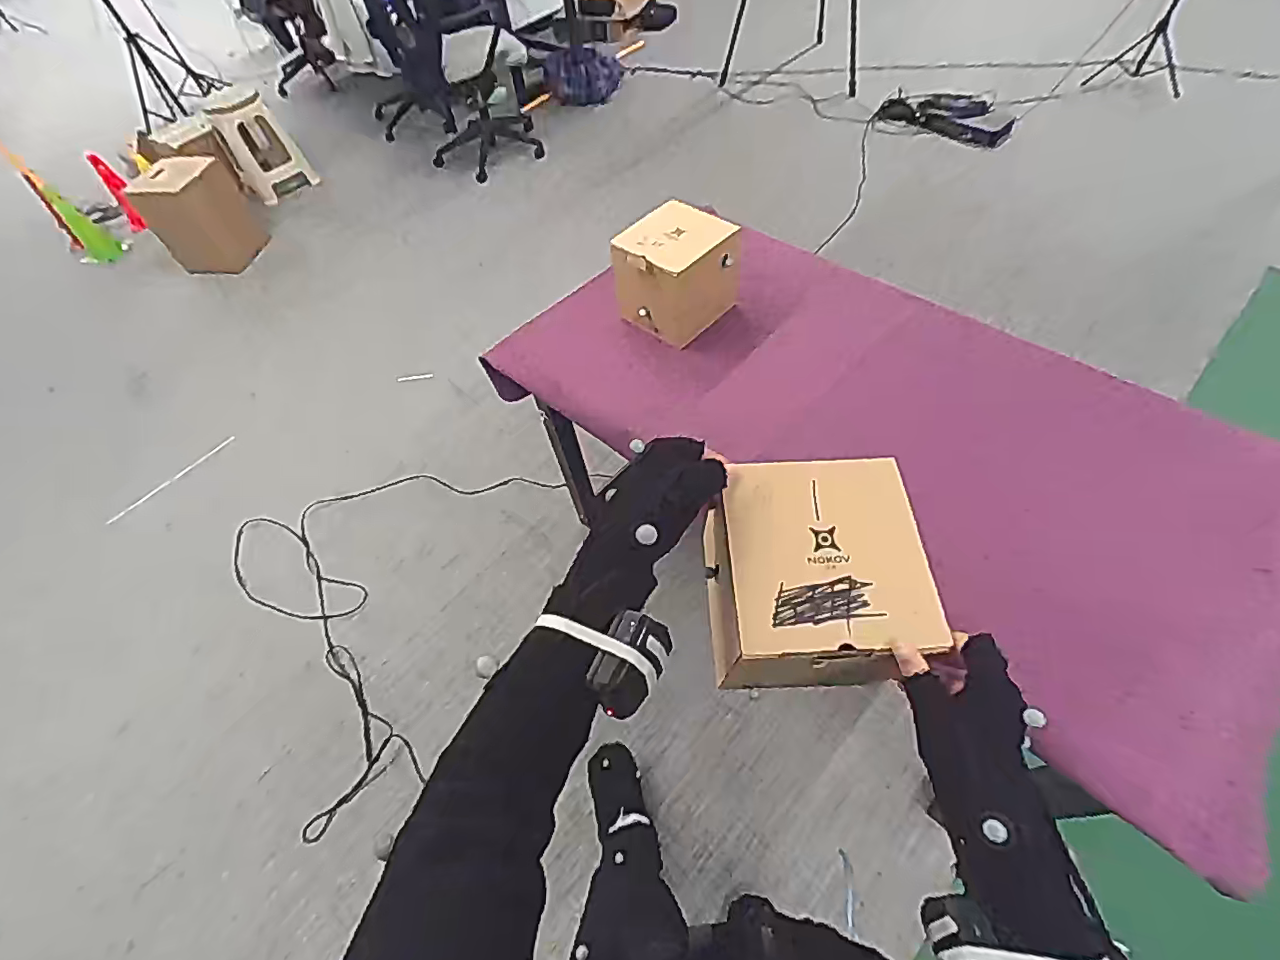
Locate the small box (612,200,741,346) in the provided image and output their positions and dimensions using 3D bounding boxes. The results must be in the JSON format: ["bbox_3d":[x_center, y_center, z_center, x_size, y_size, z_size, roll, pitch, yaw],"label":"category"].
[{"bbox_3d":[0.070,-0.393,1.034,0.168,0.176,0.179,36,67,27],"label":"small box"}]

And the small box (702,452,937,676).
[{"bbox_3d":[0.153,0.092,0.532,0.168,0.176,0.179,-2,60,0],"label":"small box"}]
